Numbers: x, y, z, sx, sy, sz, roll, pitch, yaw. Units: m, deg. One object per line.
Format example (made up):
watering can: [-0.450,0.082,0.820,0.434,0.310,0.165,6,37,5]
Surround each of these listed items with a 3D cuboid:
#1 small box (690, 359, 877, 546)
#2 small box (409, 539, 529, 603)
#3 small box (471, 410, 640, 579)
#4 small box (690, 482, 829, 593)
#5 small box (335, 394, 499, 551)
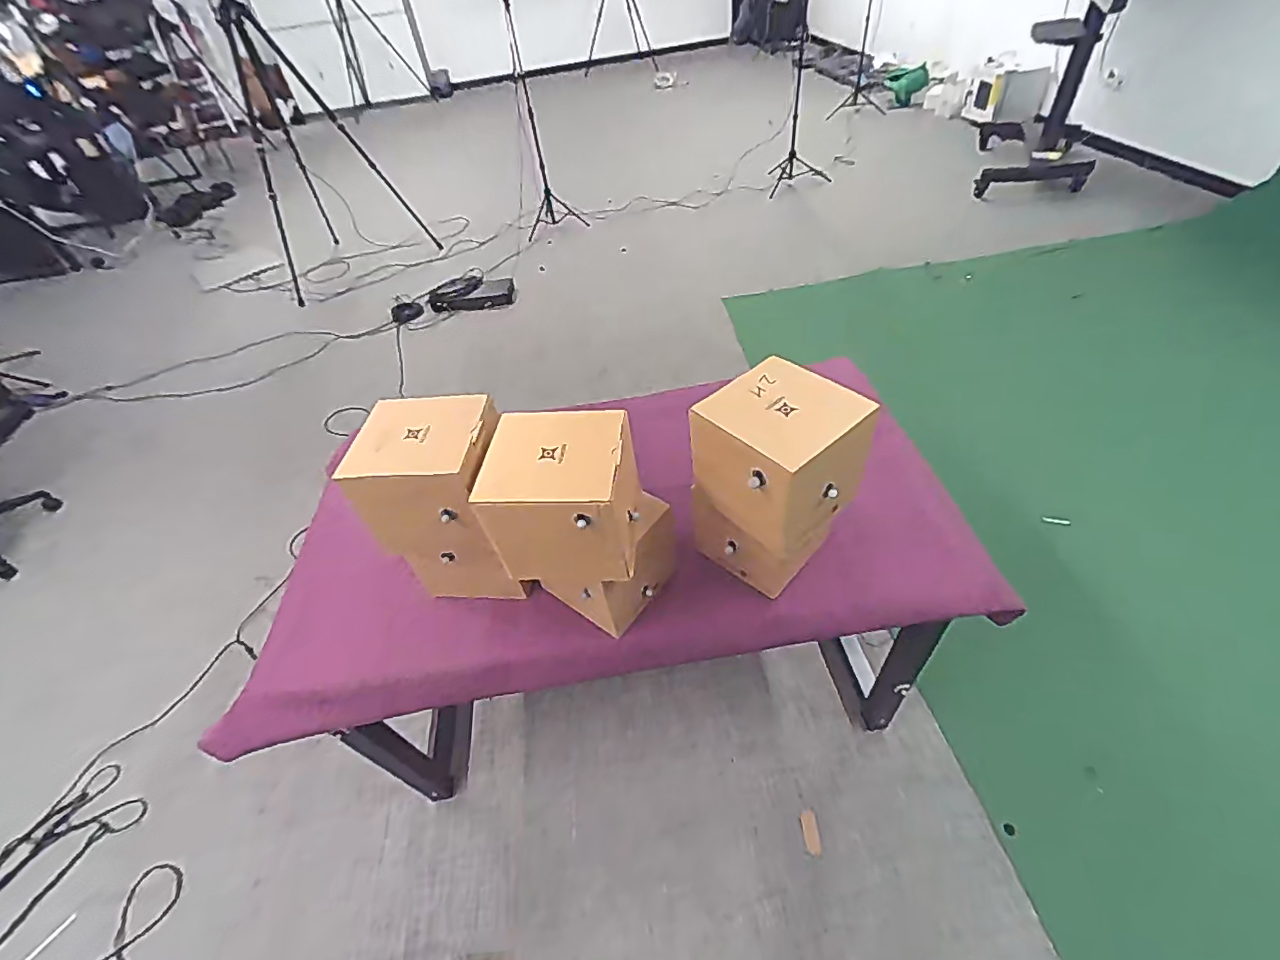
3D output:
small box: [0.190,-0.033,0.746,0.168,0.176,0.179,-33,49,-22]
small box: [-0.281,0.094,0.928,0.179,0.176,0.168,7,46,6]
small box: [-0.101,0.023,0.739,0.179,0.176,0.168,-1,47,7]
small box: [0.204,0.053,0.892,0.168,0.176,0.179,32,58,33]
small box: [-0.295,-0.007,0.796,0.179,0.176,0.168,-2,46,7]
